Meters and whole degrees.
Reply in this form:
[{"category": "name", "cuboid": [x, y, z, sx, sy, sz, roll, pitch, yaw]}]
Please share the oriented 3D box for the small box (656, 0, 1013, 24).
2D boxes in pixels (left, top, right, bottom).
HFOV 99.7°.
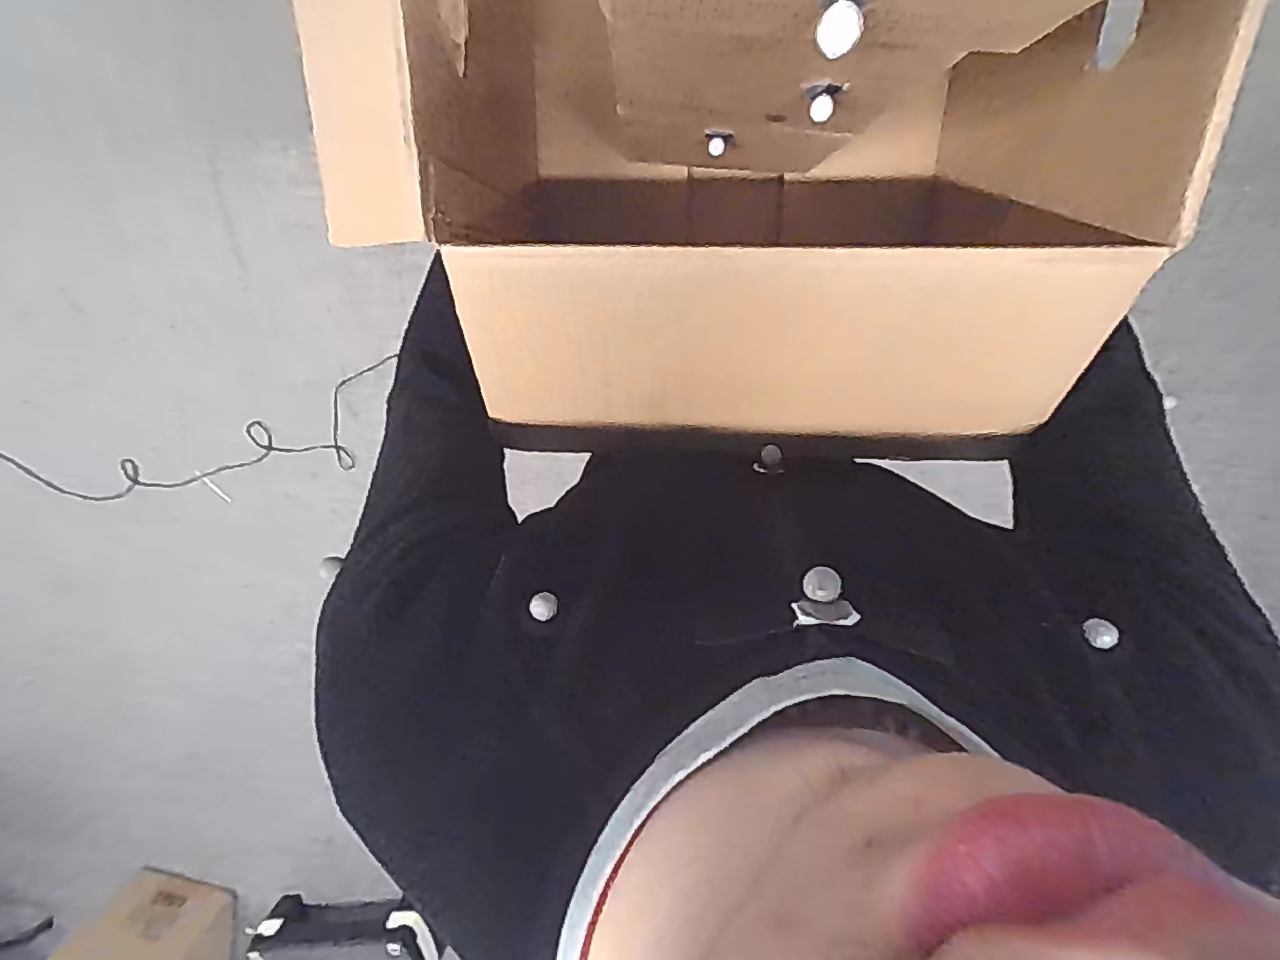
[{"category": "small box", "cuboid": [0.070, -0.231, 0.112, 0.179, 0.176, 0.168, 3, 111, -1]}]
